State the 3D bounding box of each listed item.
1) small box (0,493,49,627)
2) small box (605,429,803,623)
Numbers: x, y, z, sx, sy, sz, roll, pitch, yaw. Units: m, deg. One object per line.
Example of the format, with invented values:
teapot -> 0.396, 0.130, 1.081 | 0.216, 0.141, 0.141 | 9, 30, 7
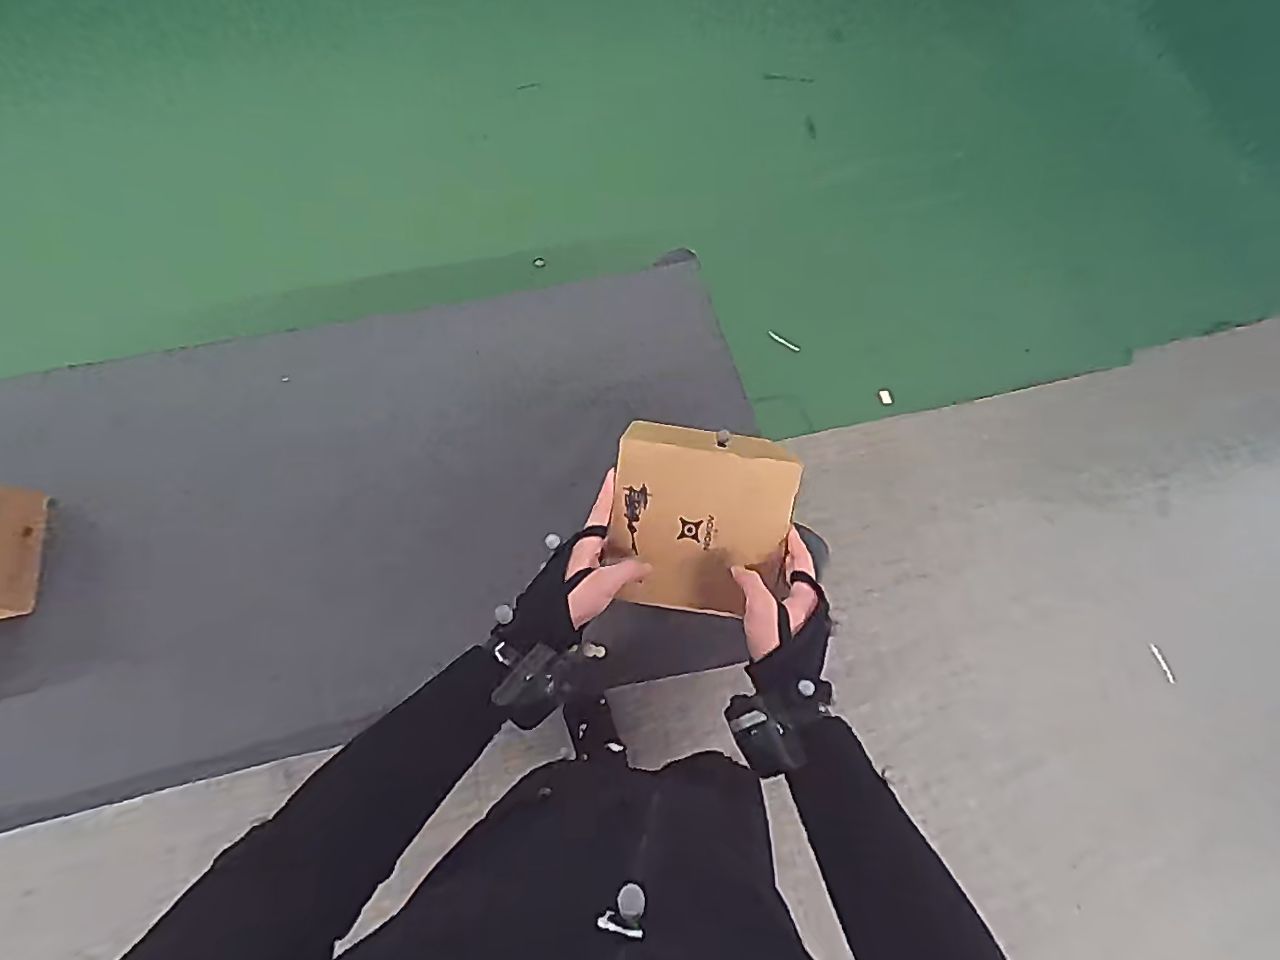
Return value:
small box -> -0.876, 0.093, 0.637 | 0.179, 0.176, 0.168 | -10, 68, -7
small box -> 0.063, 0.040, 0.614 | 0.179, 0.176, 0.168 | 8, 102, 1
